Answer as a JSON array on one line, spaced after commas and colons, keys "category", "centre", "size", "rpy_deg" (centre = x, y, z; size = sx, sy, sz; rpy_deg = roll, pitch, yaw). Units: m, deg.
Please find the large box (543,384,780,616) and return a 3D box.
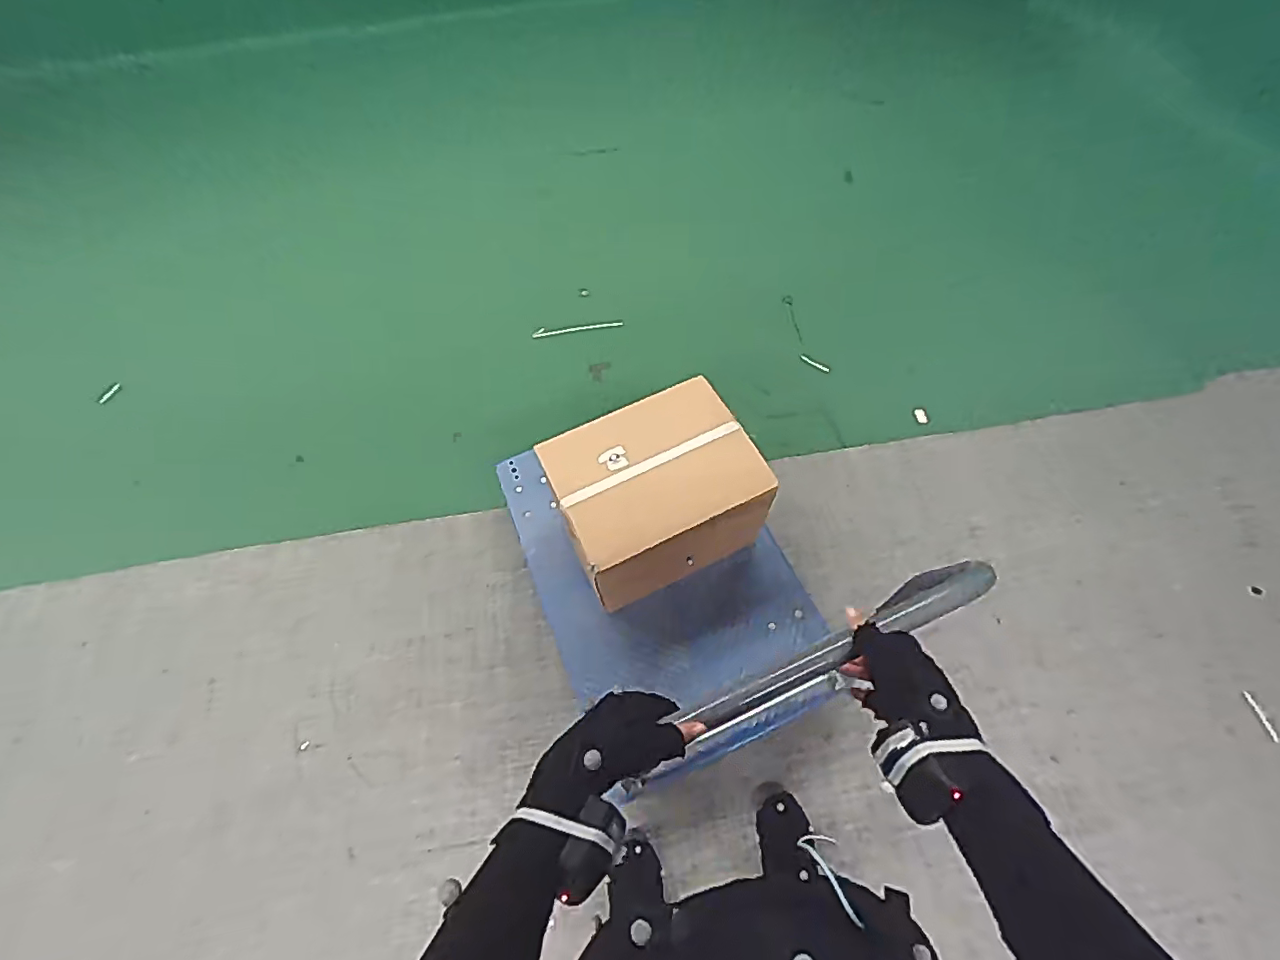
[{"category": "large box", "centre": [0.045, 0.054, 1.233], "size": [0.408, 0.320, 0.320], "rpy_deg": [-25, 63, -10]}]
